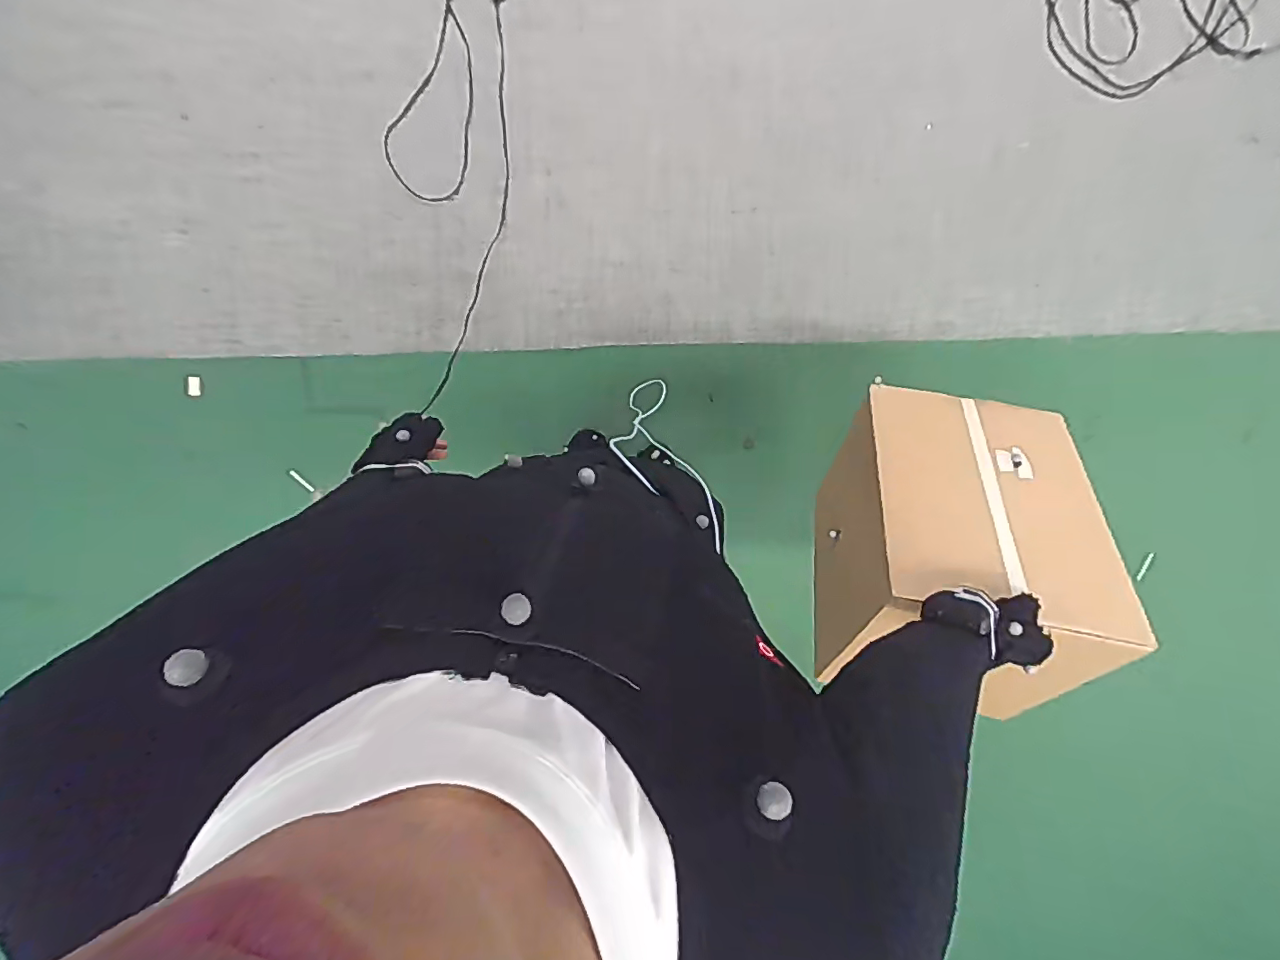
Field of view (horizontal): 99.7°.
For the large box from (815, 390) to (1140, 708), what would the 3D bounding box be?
[{"bbox_3d":[0.492,0.113,0.909,0.320,0.320,0.408,11,51,4],"label":"large box"}]
